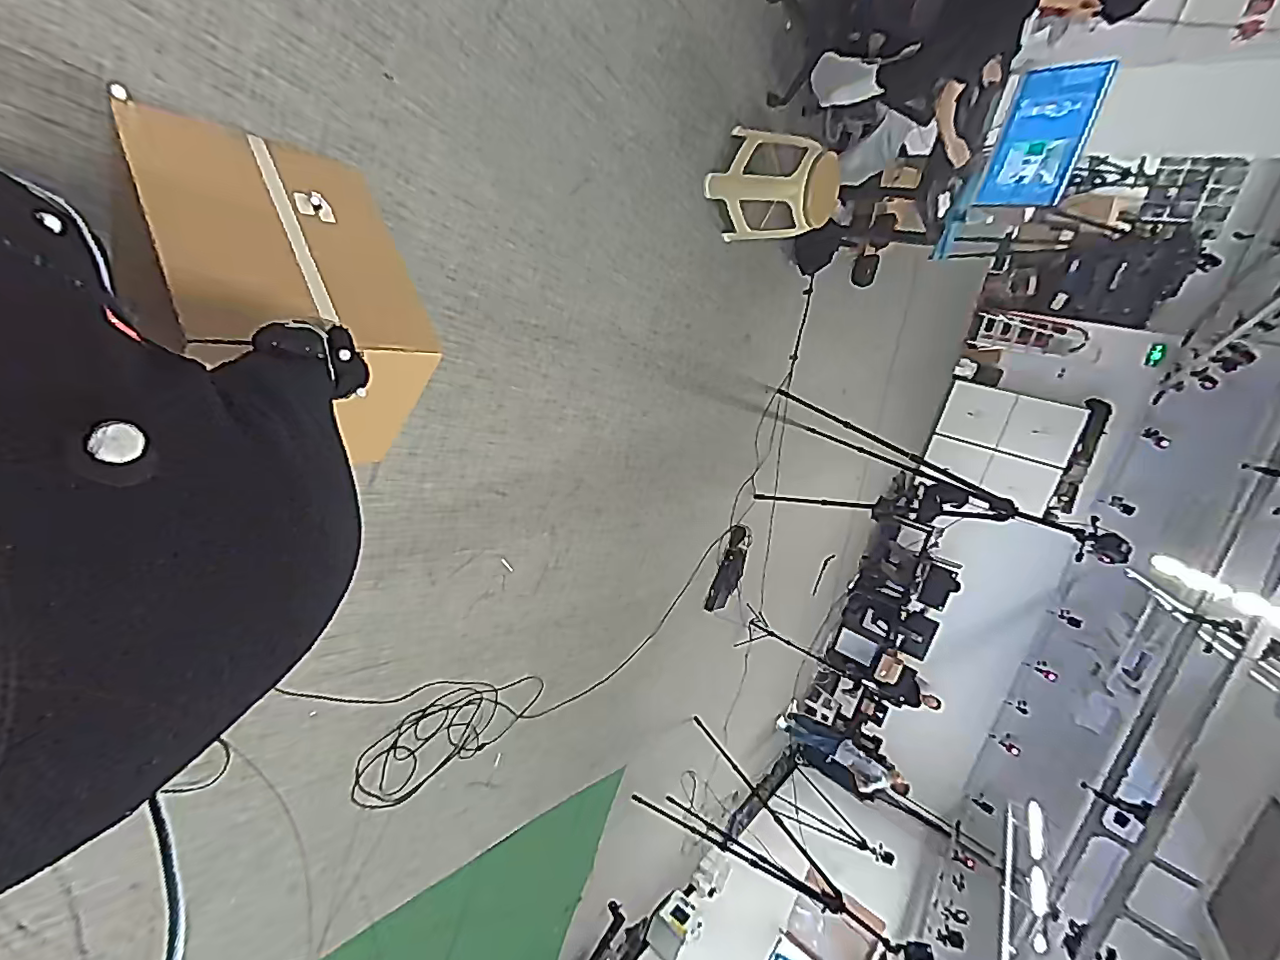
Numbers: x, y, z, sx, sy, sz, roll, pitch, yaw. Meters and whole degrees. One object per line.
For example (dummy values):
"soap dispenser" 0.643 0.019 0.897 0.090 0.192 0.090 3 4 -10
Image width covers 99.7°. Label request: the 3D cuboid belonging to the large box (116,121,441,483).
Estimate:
"large box" -0.586 -0.256 0.872 0.320 0.408 0.320 -12 157 -48
